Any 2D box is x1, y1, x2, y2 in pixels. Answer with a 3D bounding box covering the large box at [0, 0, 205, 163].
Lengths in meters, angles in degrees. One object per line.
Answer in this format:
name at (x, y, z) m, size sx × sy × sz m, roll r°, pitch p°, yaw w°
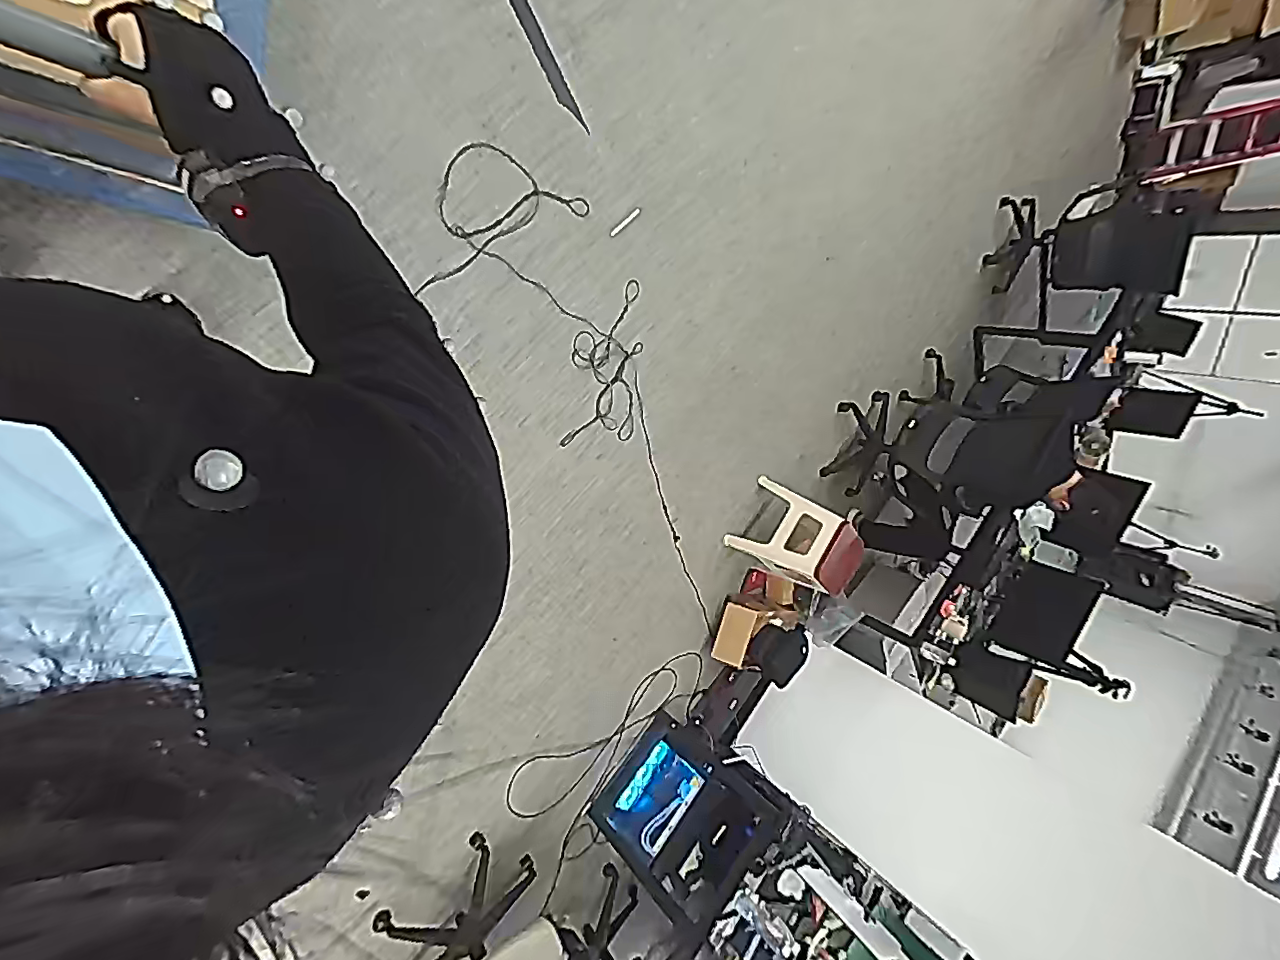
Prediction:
large box at (-0.805, -0.646, 0.662) m, size 0.408 × 0.320 × 0.320 m, roll 1°, pitch 107°, yaw -44°
